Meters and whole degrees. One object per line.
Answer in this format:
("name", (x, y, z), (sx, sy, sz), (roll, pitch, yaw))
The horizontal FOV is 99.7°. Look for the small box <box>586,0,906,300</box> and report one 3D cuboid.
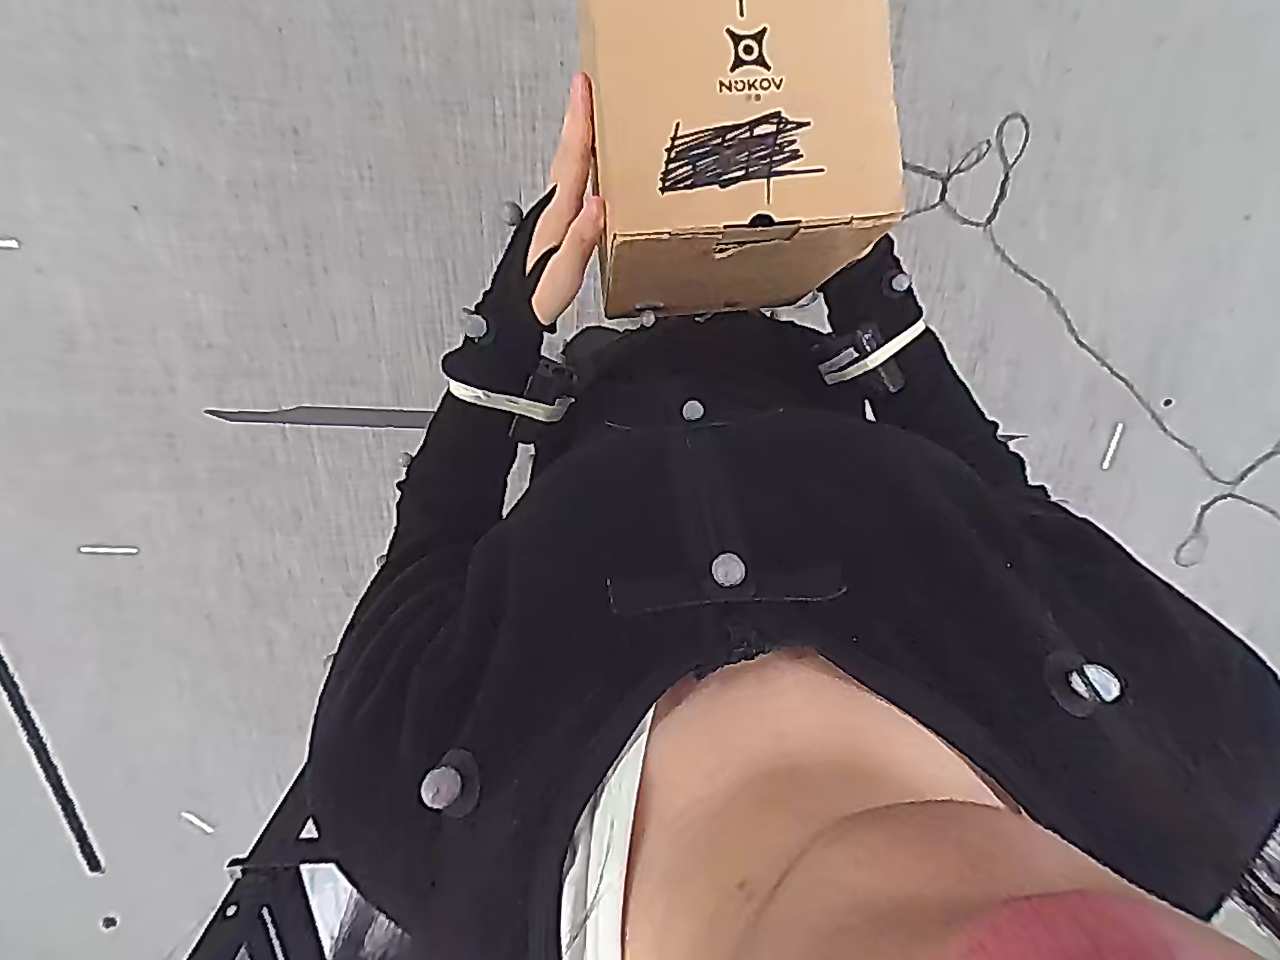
("small box", (0.053, -0.232, 0.371), (0.168, 0.176, 0.179), (-6, 92, -5))
